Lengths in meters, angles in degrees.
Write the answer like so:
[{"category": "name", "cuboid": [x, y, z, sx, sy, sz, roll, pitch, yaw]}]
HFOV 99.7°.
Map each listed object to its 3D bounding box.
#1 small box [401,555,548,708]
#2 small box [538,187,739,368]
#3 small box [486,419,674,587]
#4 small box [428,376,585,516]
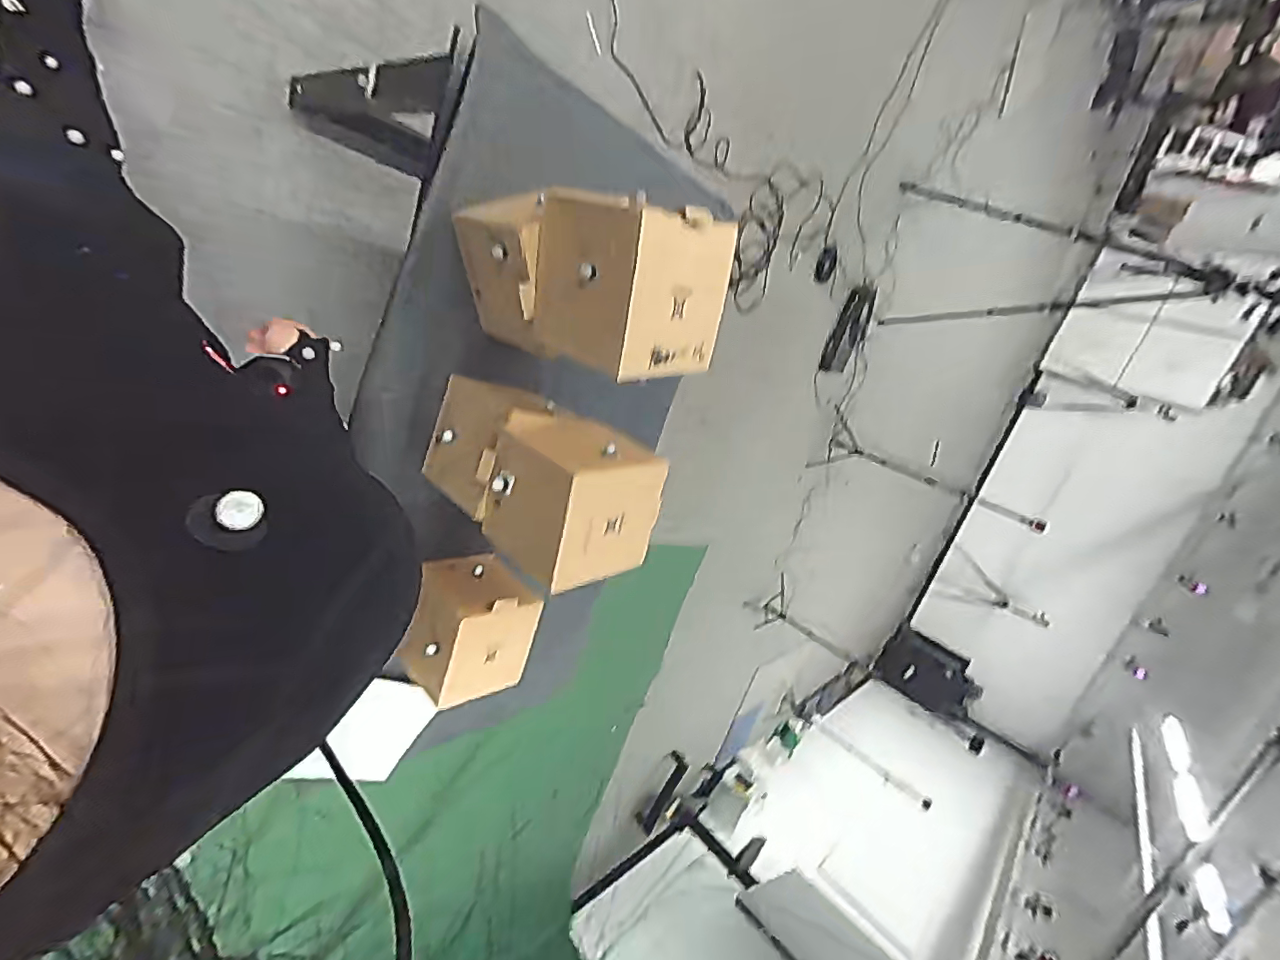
[{"category": "small box", "cuboid": [-0.293, 0.251, 0.938, 0.168, 0.176, 0.179, 0, 113, -50]}, {"category": "small box", "cuboid": [-0.009, -0.245, 0.656, 0.168, 0.176, 0.179, -16, 124, -42]}, {"category": "small box", "cuboid": [-0.087, 0.018, 0.747, 0.179, 0.176, 0.168, -9, 119, -45]}, {"category": "small box", "cuboid": [-0.196, -0.051, 0.845, 0.179, 0.176, 0.168, 7, 108, -51]}]
